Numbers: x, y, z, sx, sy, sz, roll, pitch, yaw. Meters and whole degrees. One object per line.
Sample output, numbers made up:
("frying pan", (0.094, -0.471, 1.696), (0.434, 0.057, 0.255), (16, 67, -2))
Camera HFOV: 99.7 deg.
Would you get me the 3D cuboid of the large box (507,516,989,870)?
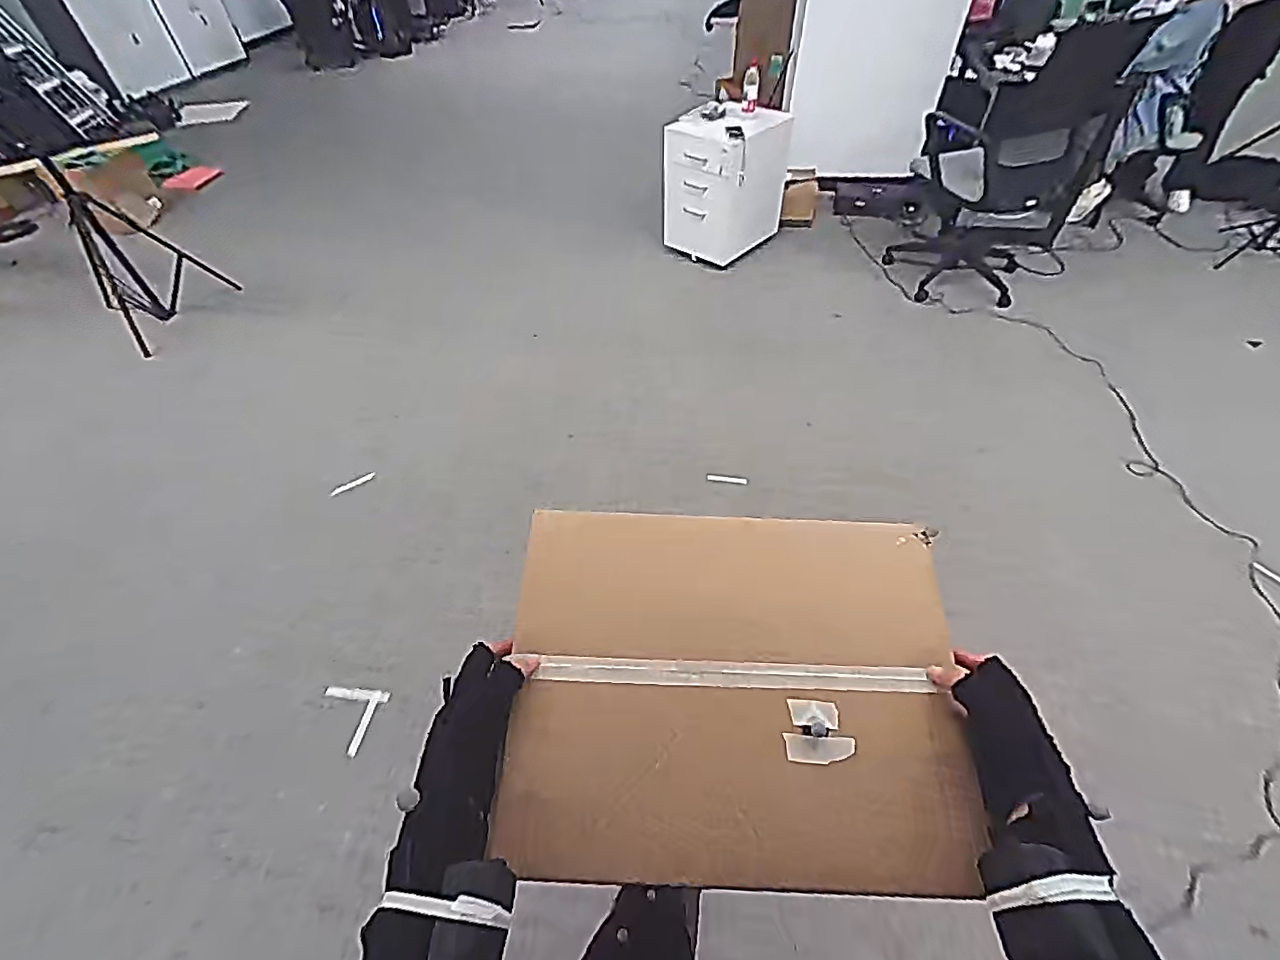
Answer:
("large box", (0.086, 0.250, 0.639), (0.408, 0.320, 0.320), (2, 62, 0))
